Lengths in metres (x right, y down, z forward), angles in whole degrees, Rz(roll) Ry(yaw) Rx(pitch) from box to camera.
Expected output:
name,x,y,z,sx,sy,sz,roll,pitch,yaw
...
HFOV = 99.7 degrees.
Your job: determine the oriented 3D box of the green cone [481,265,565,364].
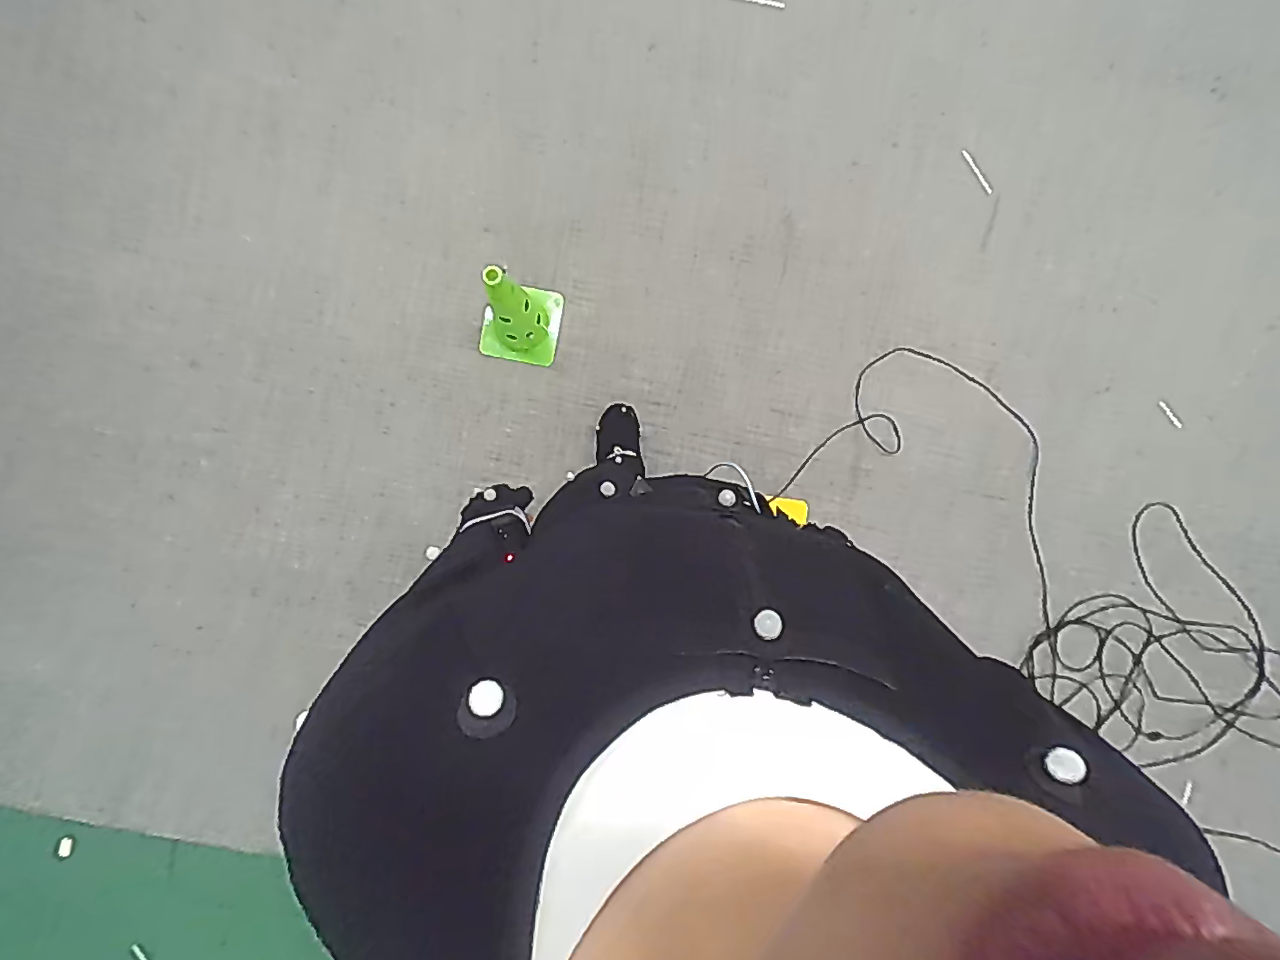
name,x,y,z,sx,sy,sz,roll,pitch,yaw
green cone,-0.302,-0.418,1.272,0.202,0.368,0.200,10,91,-4
